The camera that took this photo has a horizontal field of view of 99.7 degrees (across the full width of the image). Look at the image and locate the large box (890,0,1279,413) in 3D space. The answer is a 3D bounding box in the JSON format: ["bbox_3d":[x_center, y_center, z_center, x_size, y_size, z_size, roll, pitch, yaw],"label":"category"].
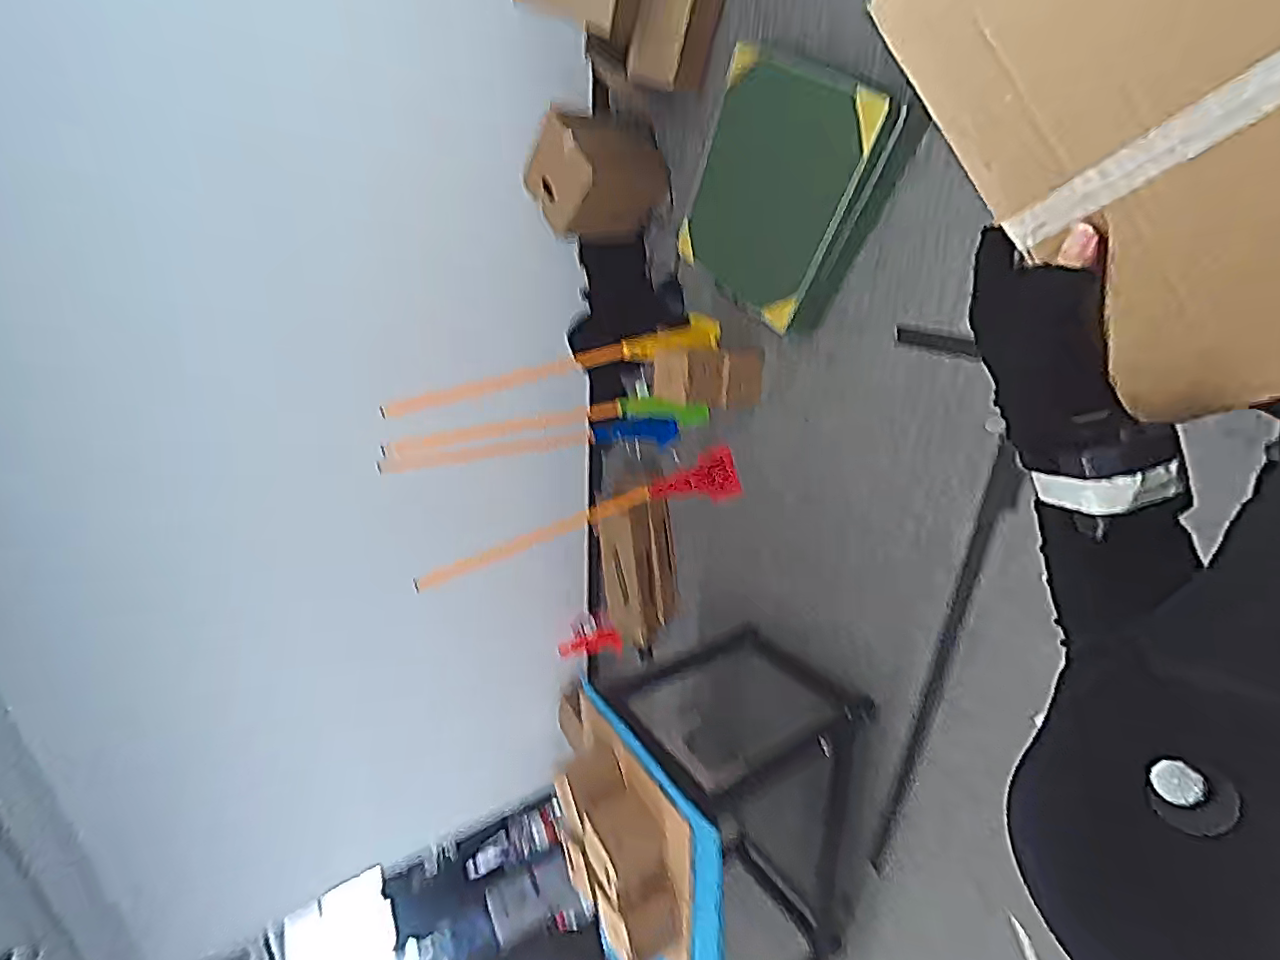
[{"bbox_3d":[0.423,-0.296,0.260,0.320,0.320,0.408,50,146,-10],"label":"large box"}]
